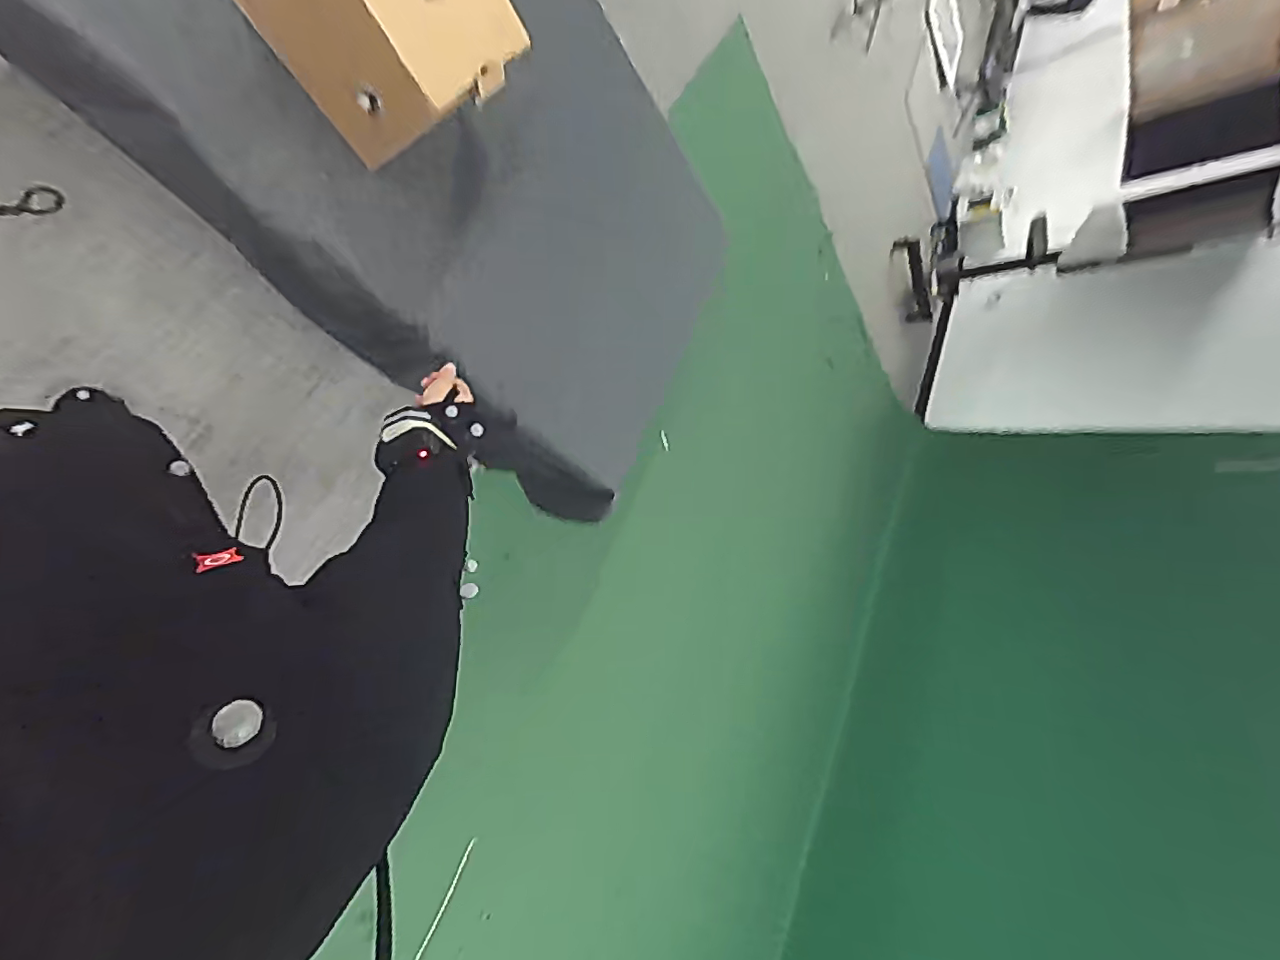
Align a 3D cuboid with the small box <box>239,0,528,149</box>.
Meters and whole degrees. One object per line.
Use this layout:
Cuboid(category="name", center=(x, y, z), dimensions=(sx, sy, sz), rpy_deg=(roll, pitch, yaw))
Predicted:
Cuboid(category="small box", center=(-0.257, -0.473, 0.551), dimensions=(0.179, 0.176, 0.168), rpy_deg=(51, 57, -36))
